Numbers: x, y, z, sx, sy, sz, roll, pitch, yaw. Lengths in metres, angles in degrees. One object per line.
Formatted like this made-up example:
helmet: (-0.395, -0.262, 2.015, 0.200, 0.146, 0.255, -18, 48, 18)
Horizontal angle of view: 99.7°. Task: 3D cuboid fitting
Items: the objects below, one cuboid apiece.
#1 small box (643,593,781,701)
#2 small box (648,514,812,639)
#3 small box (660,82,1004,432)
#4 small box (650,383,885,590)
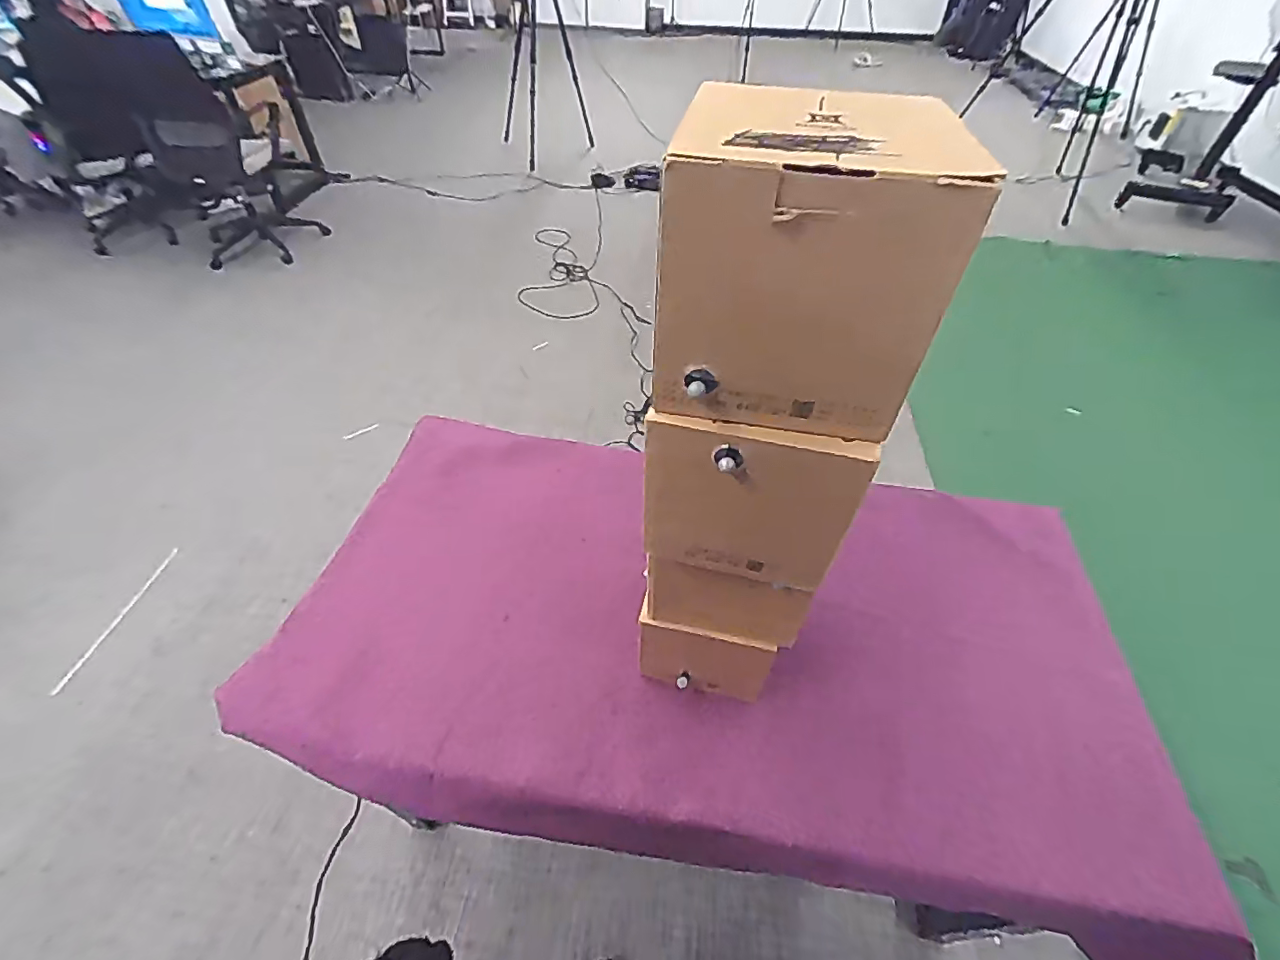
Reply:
small box: (0.101, 0.172, 0.741, 0.168, 0.176, 0.179, 10, 49, 10)
small box: (0.109, 0.063, 0.623, 0.179, 0.176, 0.168, 9, 48, 8)
small box: (0.108, -0.154, 0.376, 0.168, 0.176, 0.179, 9, 47, 7)
small box: (0.106, -0.031, 0.487, 0.168, 0.176, 0.179, 11, 47, 10)
